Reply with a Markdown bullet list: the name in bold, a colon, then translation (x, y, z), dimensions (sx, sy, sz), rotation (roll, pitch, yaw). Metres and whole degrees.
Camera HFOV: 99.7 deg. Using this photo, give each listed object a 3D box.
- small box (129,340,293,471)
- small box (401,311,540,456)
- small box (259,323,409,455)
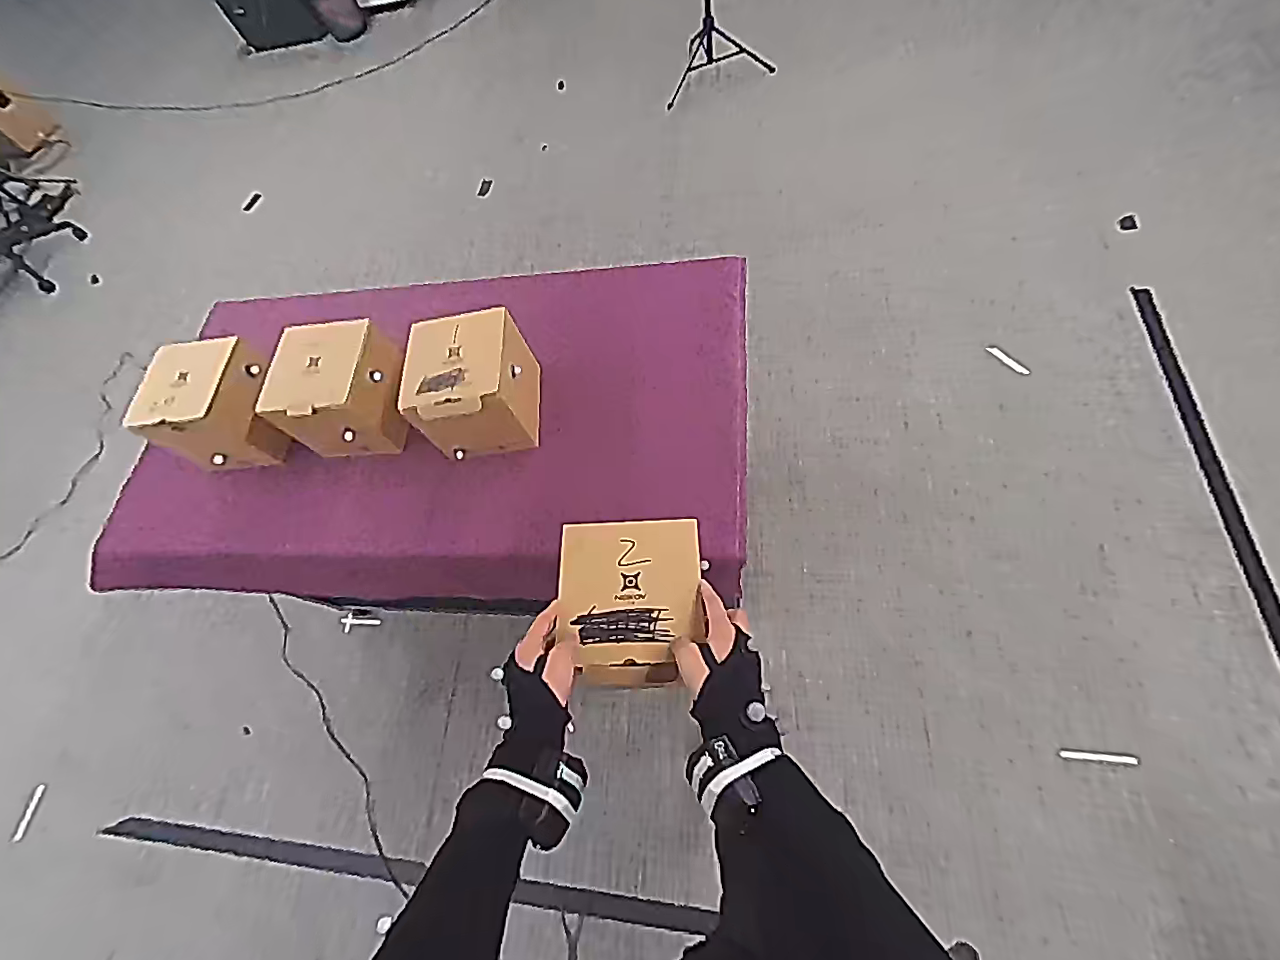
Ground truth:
- **small box**: translation (-0.771, -0.133, 1.008), dimensions (0.168, 0.176, 0.179), rotation (-4, 65, 10)
- **small box**: translation (-0.276, -0.153, 0.920), dimensions (0.168, 0.176, 0.179), rotation (-8, 63, 7)
- **small box**: translation (-0.524, -0.153, 0.971), dimensions (0.168, 0.176, 0.179), rotation (-3, 64, 9)
